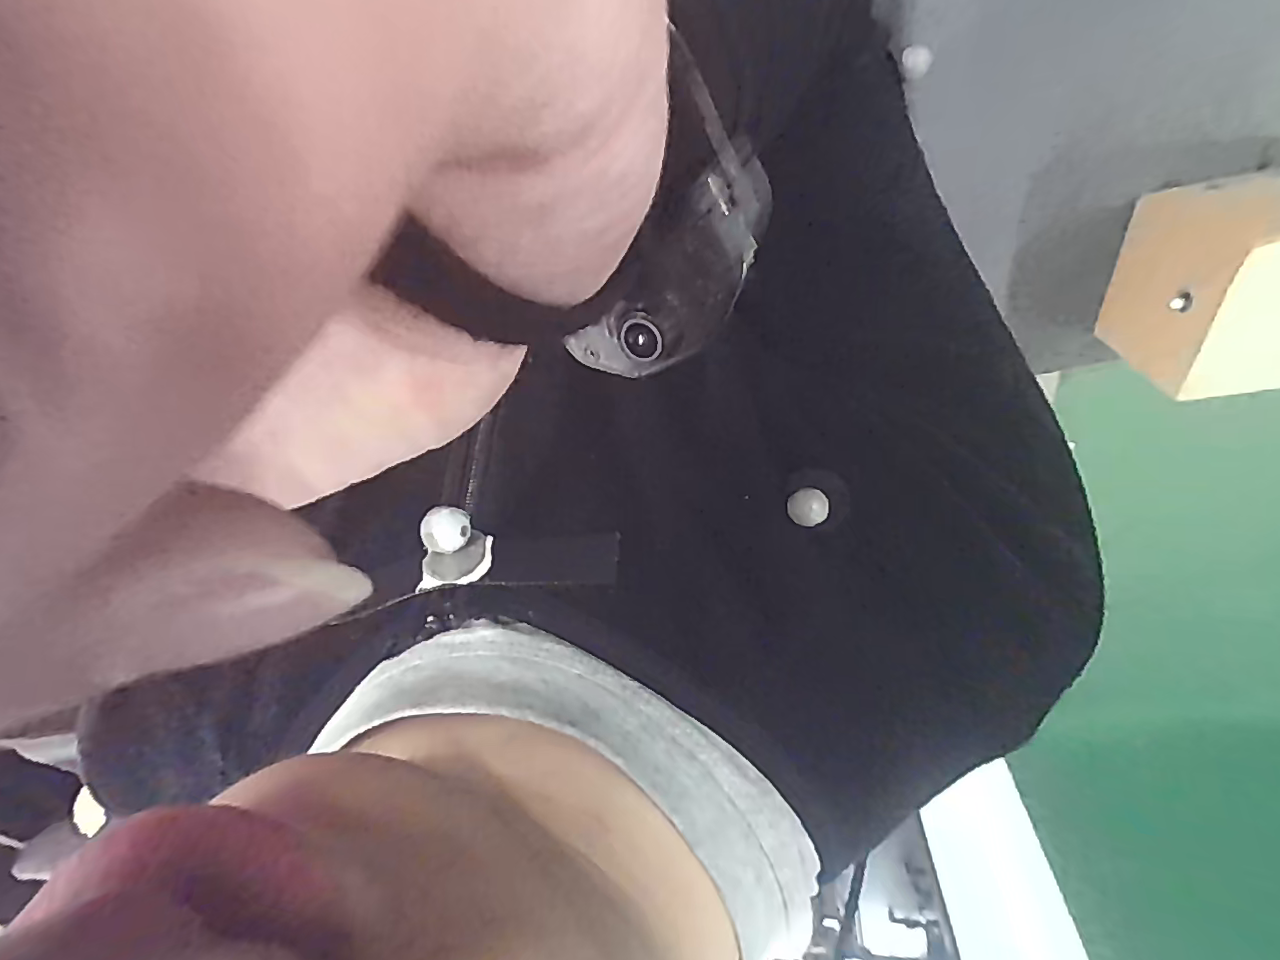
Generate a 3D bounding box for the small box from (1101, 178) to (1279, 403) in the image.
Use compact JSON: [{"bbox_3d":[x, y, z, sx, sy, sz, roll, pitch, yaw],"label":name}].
[{"bbox_3d":[0.655,-0.211,0.586,0.168,0.176,0.179,-7,131,12],"label":"small box"}]
